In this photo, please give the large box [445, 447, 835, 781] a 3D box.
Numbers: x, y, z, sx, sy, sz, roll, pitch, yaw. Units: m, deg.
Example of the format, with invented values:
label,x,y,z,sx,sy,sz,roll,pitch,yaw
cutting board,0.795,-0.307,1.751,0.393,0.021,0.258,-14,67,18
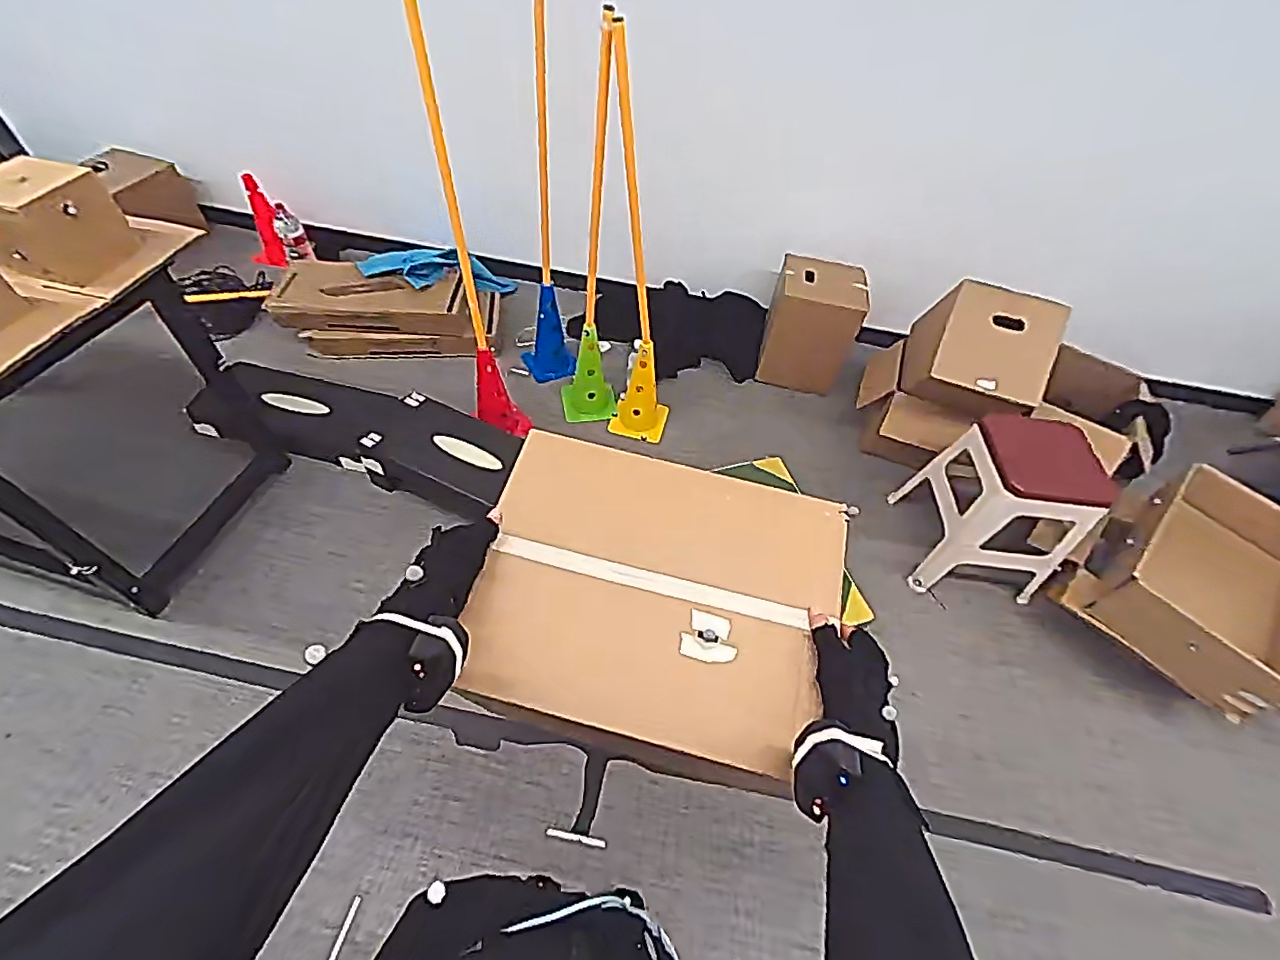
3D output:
label,x,y,z,sx,sy,sz,roll,pitch,yaw
large box,0.009,0.200,0.750,0.408,0.320,0.320,14,62,3
